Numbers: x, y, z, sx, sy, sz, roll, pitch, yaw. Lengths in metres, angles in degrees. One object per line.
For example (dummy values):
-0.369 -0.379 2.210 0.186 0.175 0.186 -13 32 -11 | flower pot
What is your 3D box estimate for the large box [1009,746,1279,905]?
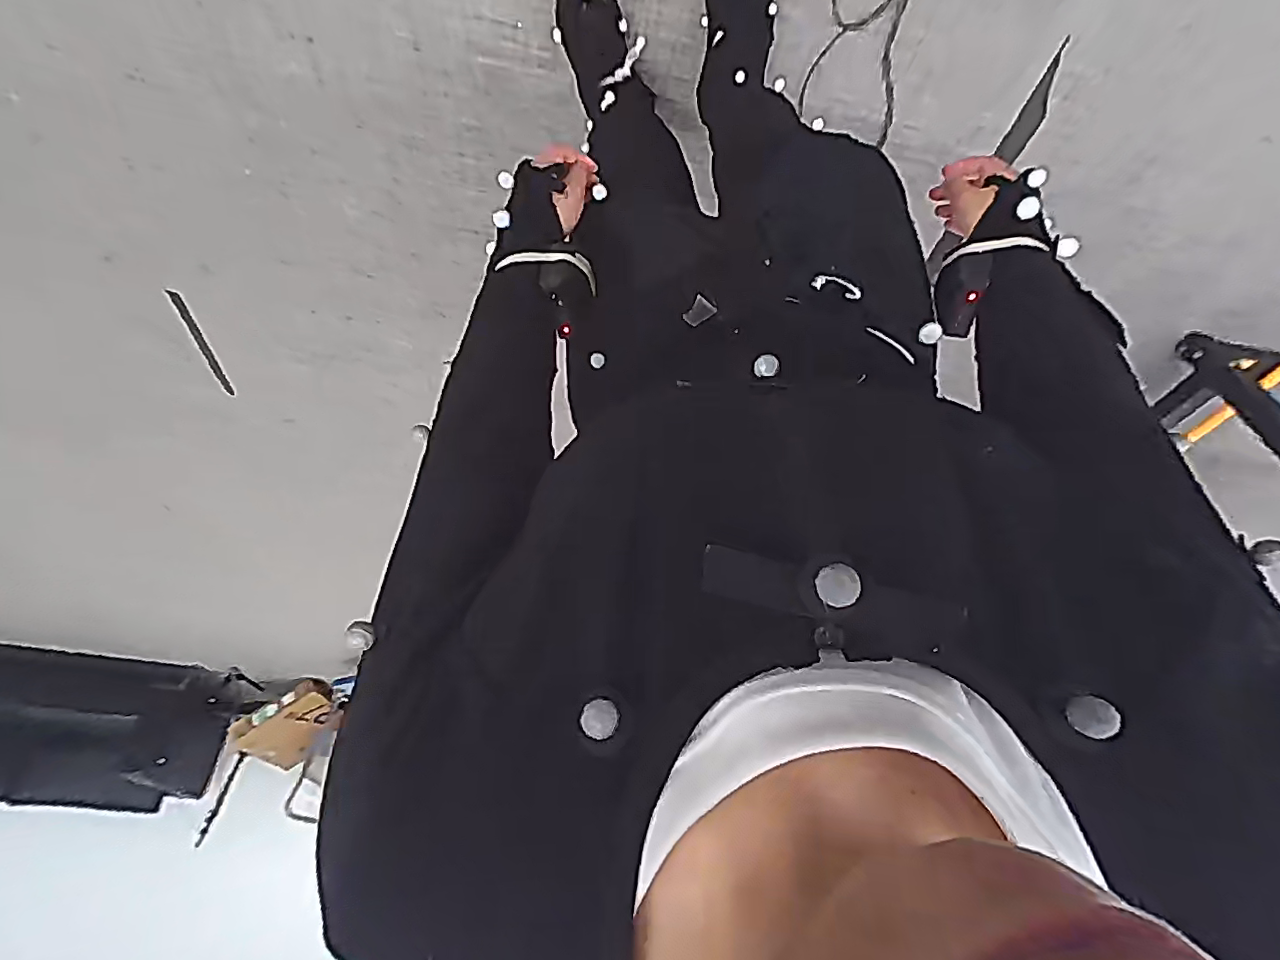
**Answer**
1.335 0.938 1.465 0.408 0.320 0.320 8 141 -5 | large box
